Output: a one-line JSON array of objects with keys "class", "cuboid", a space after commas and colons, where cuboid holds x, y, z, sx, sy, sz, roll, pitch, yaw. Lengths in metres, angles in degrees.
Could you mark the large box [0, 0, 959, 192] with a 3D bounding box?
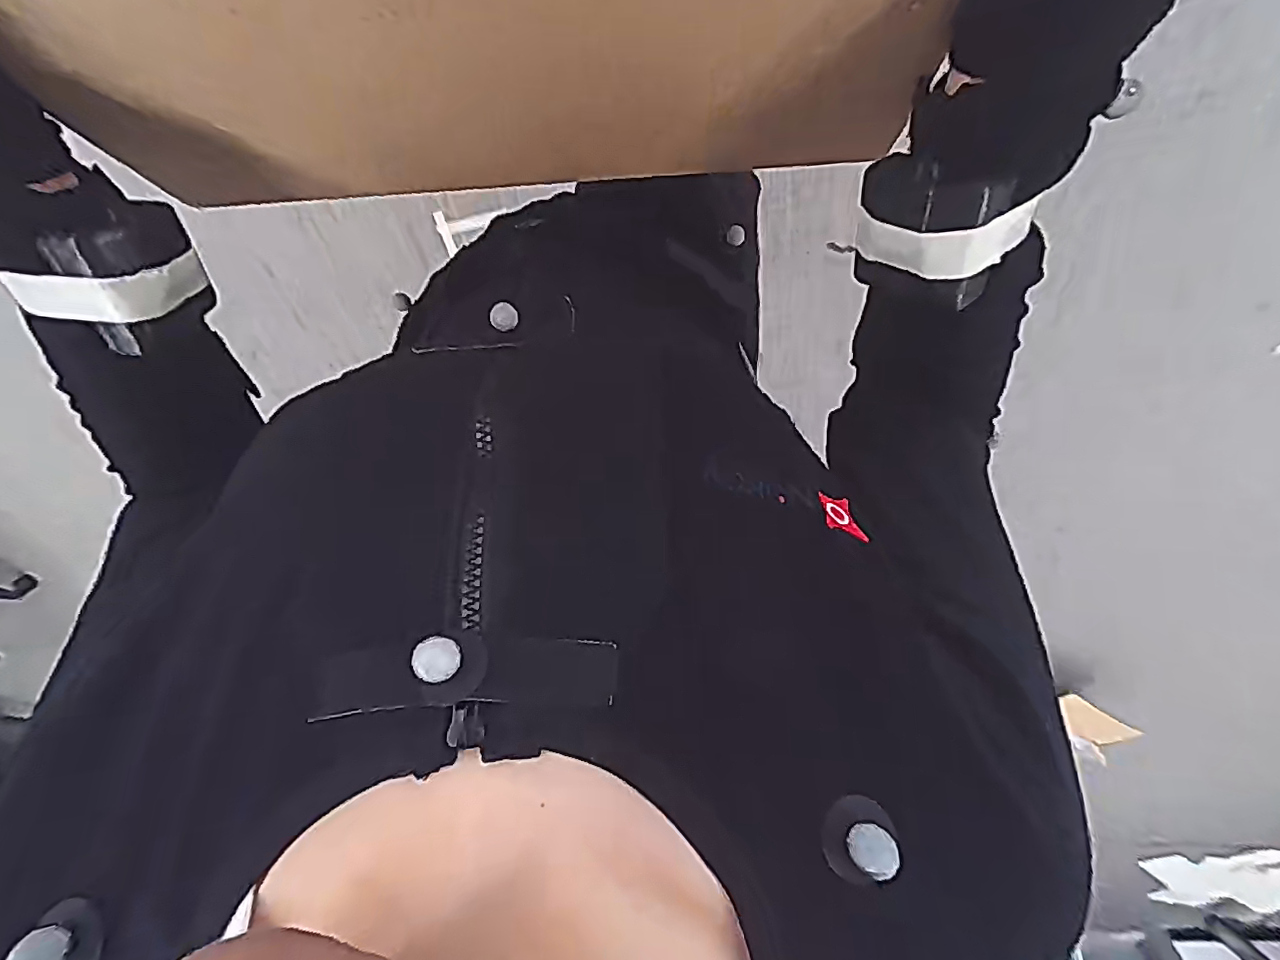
[{"class": "large box", "cuboid": [-0.079, -0.343, 0.172, 0.408, 0.320, 0.320, -3, 86, 3]}]
